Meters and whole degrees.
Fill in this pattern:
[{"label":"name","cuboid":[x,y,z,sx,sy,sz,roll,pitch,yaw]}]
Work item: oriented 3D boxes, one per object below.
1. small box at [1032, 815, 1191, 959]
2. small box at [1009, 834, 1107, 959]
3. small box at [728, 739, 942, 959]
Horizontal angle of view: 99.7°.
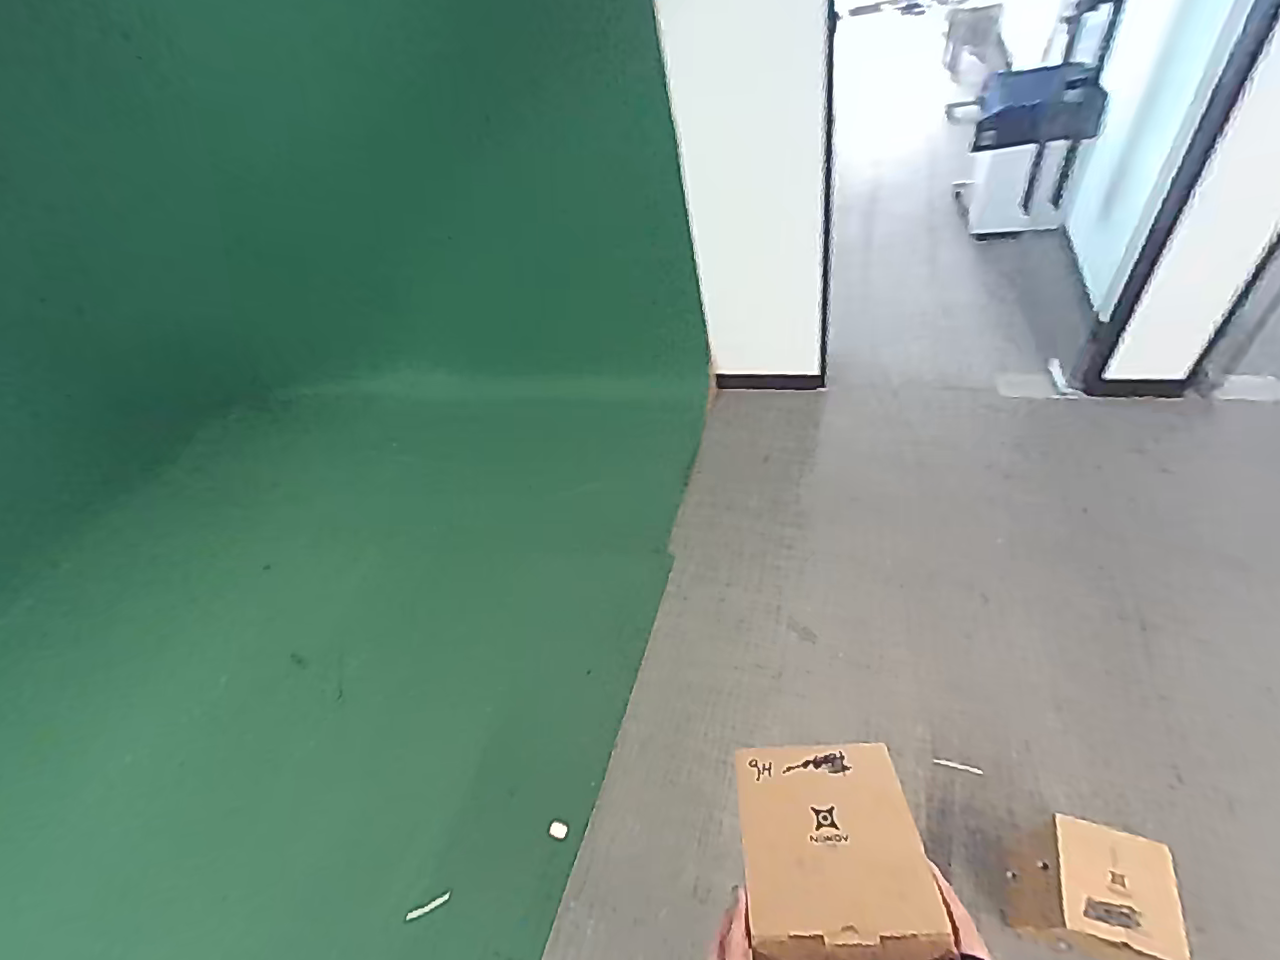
[{"label":"small box","cuboid":[0.827,0.743,0.968,0.168,0.176,0.179,7,50,24]},{"label":"small box","cuboid":[0.863,0.849,1.088,0.179,0.176,0.168,6,51,23]},{"label":"small box","cuboid":[0.187,0.402,0.562,0.168,0.176,0.179,-6,30,7]}]
